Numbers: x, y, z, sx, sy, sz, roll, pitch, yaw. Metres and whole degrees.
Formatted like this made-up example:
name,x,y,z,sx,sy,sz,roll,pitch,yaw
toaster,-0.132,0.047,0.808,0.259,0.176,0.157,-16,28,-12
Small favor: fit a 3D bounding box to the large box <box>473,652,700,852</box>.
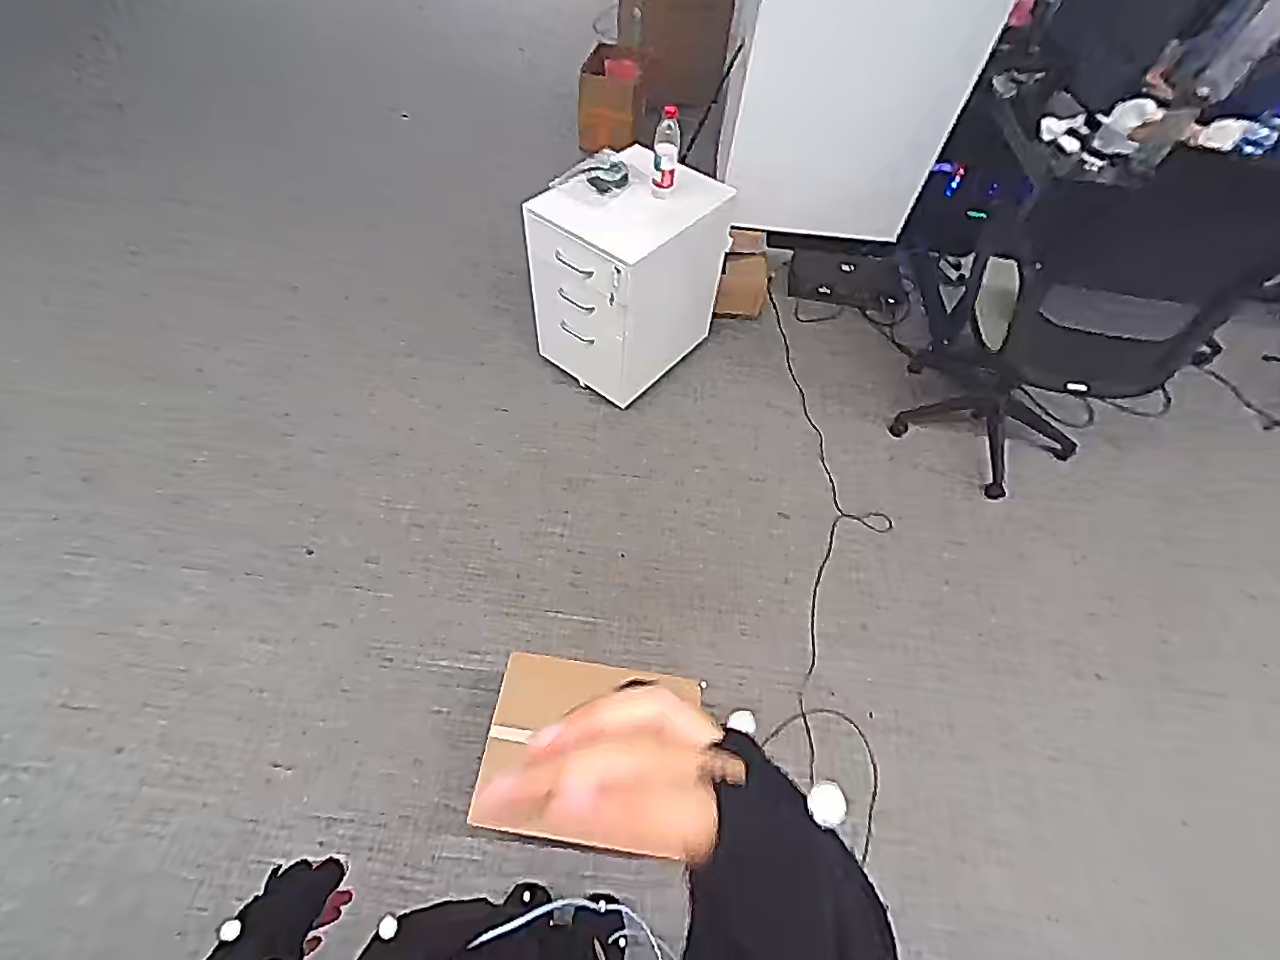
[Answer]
name,x,y,z,sx,sy,sz,roll,pitch,yaw
large box,-0.102,0.597,1.174,0.408,0.320,0.320,9,57,0
